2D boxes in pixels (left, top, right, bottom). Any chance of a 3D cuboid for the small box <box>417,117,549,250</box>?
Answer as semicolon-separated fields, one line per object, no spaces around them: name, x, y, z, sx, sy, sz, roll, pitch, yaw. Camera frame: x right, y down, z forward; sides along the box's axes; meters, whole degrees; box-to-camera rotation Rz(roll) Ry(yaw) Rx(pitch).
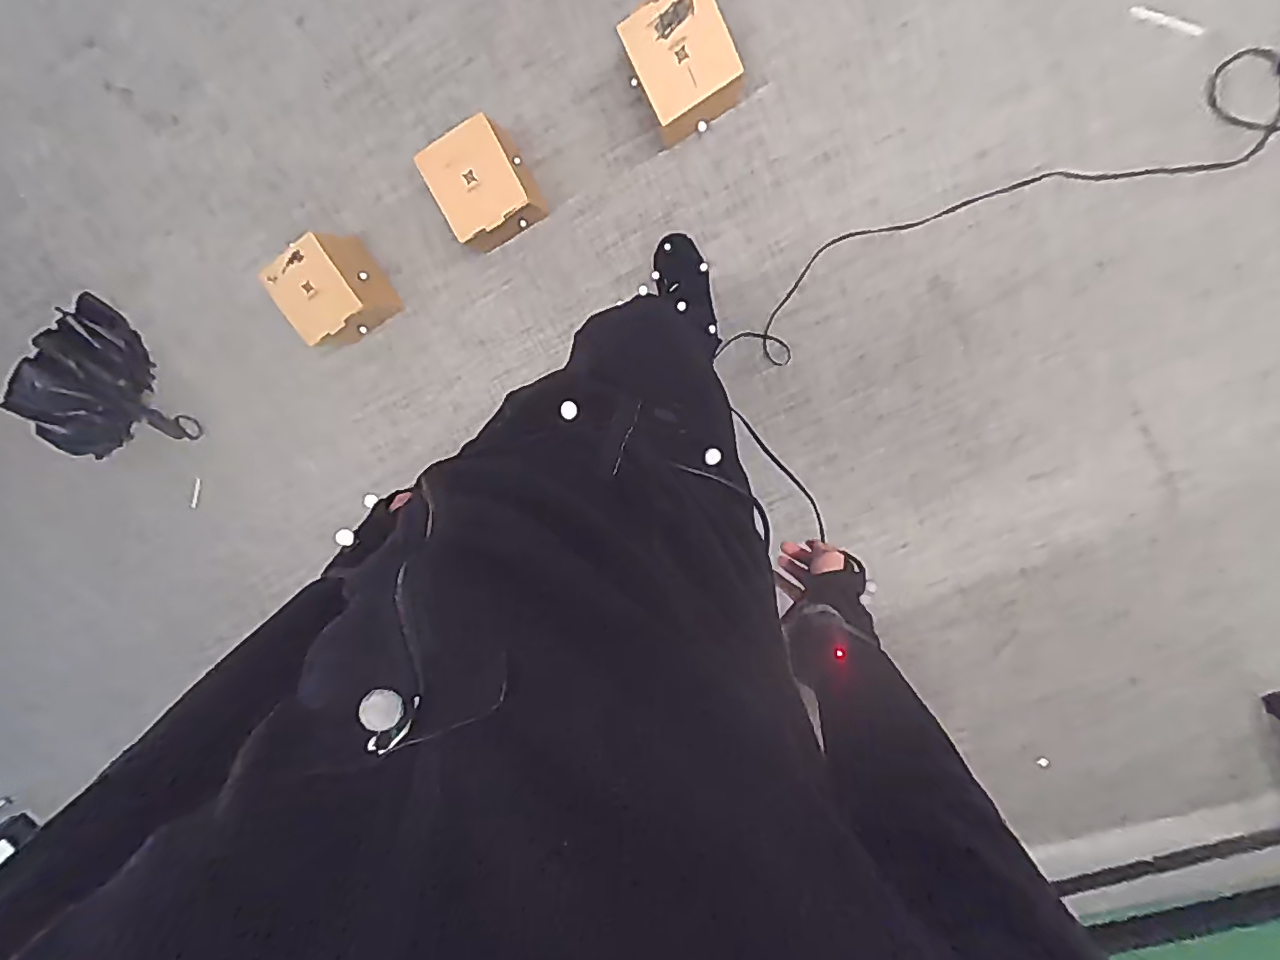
small box;-0.310;-0.594;1.115;0.168;0.176;0.179;-26;103;13

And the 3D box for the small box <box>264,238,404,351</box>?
small box;-0.672;-0.414;1.213;0.168;0.176;0.179;-29;103;14

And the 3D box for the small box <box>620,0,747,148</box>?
small box;0.083;-0.764;1.010;0.168;0.176;0.179;-26;104;15
